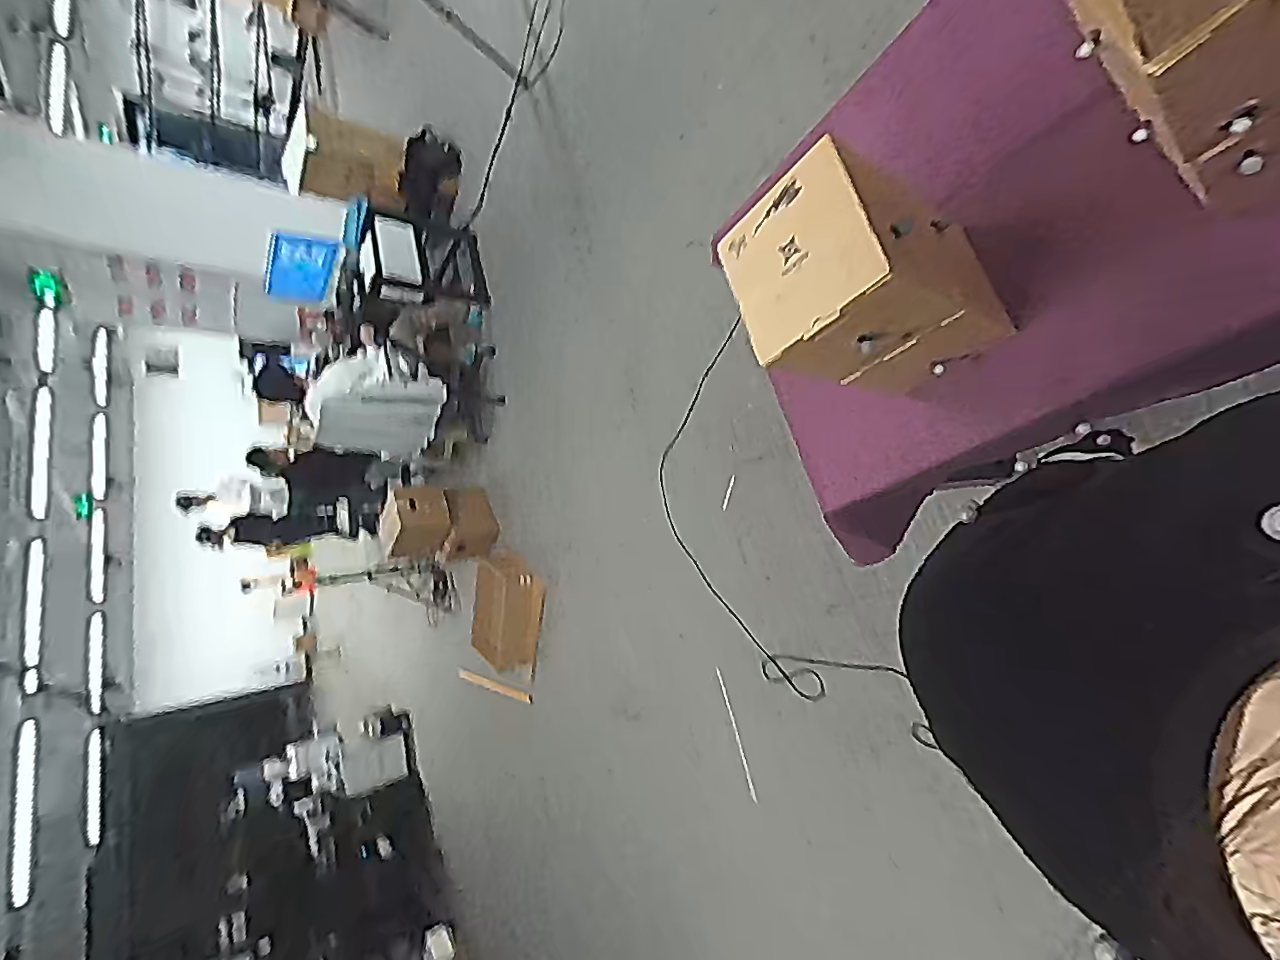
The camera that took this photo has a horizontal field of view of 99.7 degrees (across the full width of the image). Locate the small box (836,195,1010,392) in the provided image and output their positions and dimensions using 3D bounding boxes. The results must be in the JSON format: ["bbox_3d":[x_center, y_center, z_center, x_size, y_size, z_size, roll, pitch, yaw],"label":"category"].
[{"bbox_3d":[0.354,-0.235,0.730,0.168,0.176,0.179,-34,65,46],"label":"small box"}]

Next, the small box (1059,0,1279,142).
[{"bbox_3d":[0.424,-0.379,0.380,0.168,0.176,0.179,-36,63,45],"label":"small box"}]

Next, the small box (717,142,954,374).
[{"bbox_3d":[0.225,-0.236,0.627,0.168,0.176,0.179,-34,66,45],"label":"small box"}]

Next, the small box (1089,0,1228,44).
[{"bbox_3d":[0.296,-0.386,0.279,0.168,0.176,0.179,-37,64,45],"label":"small box"}]
